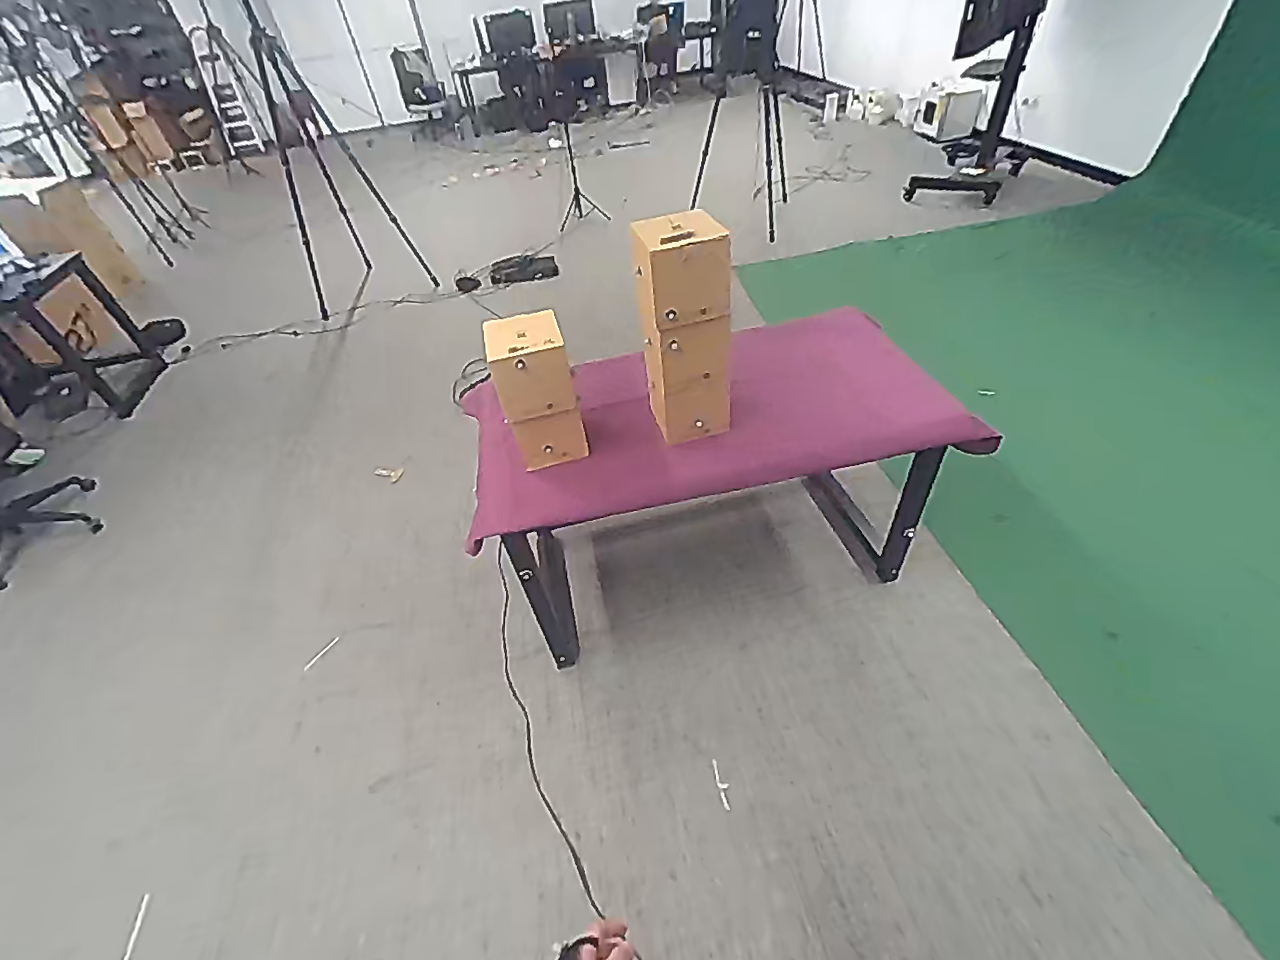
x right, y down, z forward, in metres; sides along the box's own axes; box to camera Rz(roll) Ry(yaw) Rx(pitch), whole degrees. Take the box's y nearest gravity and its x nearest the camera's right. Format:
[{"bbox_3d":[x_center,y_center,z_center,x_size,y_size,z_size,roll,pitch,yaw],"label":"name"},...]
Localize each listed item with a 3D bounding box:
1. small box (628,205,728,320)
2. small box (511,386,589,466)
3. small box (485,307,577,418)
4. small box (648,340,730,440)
[{"bbox_3d":[0.082,-0.453,1.139,0.168,0.176,0.179,-15,43,-6],"label":"small box"},{"bbox_3d":[-0.235,-0.163,1.368,0.168,0.176,0.179,-16,45,-8],"label":"small box"},{"bbox_3d":[-0.250,-0.270,1.243,0.168,0.176,0.179,-15,45,-6],"label":"small box"},{"bbox_3d":[0.123,-0.229,1.376,0.168,0.176,0.179,-14,45,-5],"label":"small box"}]
